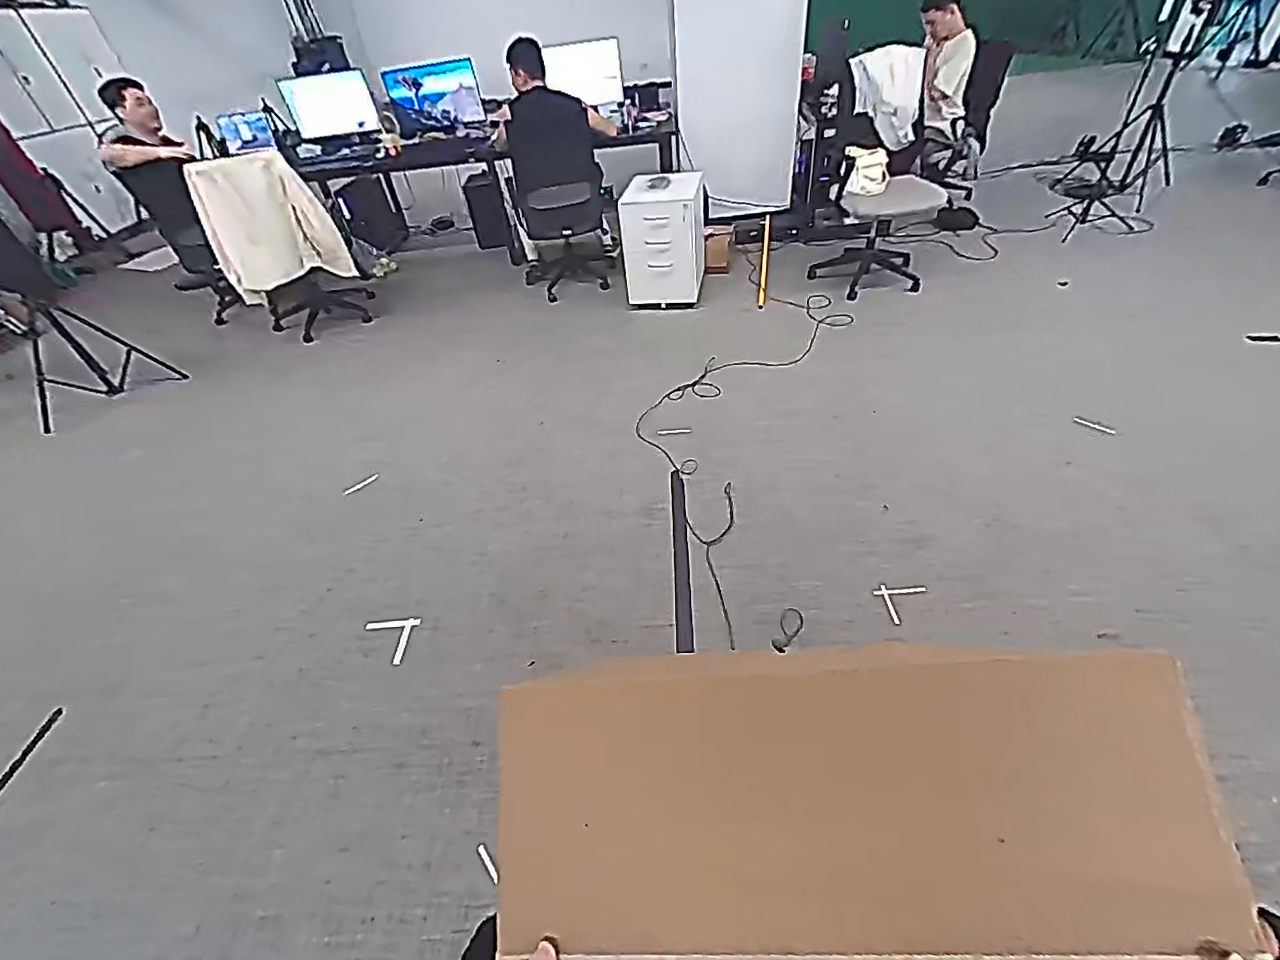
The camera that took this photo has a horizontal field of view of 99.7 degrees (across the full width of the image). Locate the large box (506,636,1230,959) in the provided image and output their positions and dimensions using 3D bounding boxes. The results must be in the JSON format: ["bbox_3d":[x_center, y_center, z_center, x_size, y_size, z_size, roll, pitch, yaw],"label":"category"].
[{"bbox_3d":[0.139,0.312,0.450,0.408,0.320,0.320,-6,74,7],"label":"large box"}]
